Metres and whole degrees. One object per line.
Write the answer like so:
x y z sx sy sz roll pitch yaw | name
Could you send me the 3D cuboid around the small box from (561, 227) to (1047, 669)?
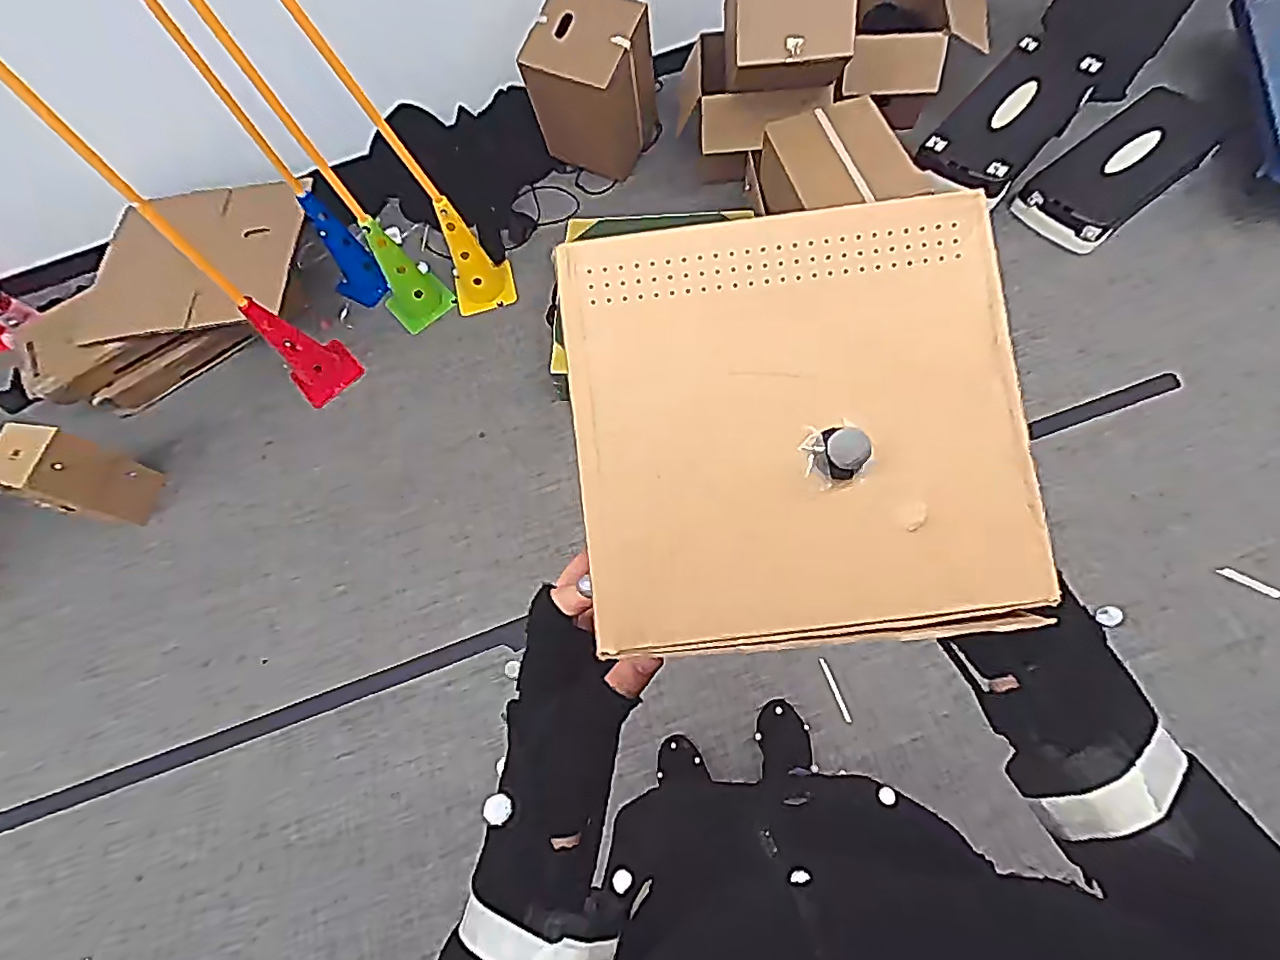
0.064 -0.014 0.295 0.179 0.168 0.176 -8 84 1 | small box
